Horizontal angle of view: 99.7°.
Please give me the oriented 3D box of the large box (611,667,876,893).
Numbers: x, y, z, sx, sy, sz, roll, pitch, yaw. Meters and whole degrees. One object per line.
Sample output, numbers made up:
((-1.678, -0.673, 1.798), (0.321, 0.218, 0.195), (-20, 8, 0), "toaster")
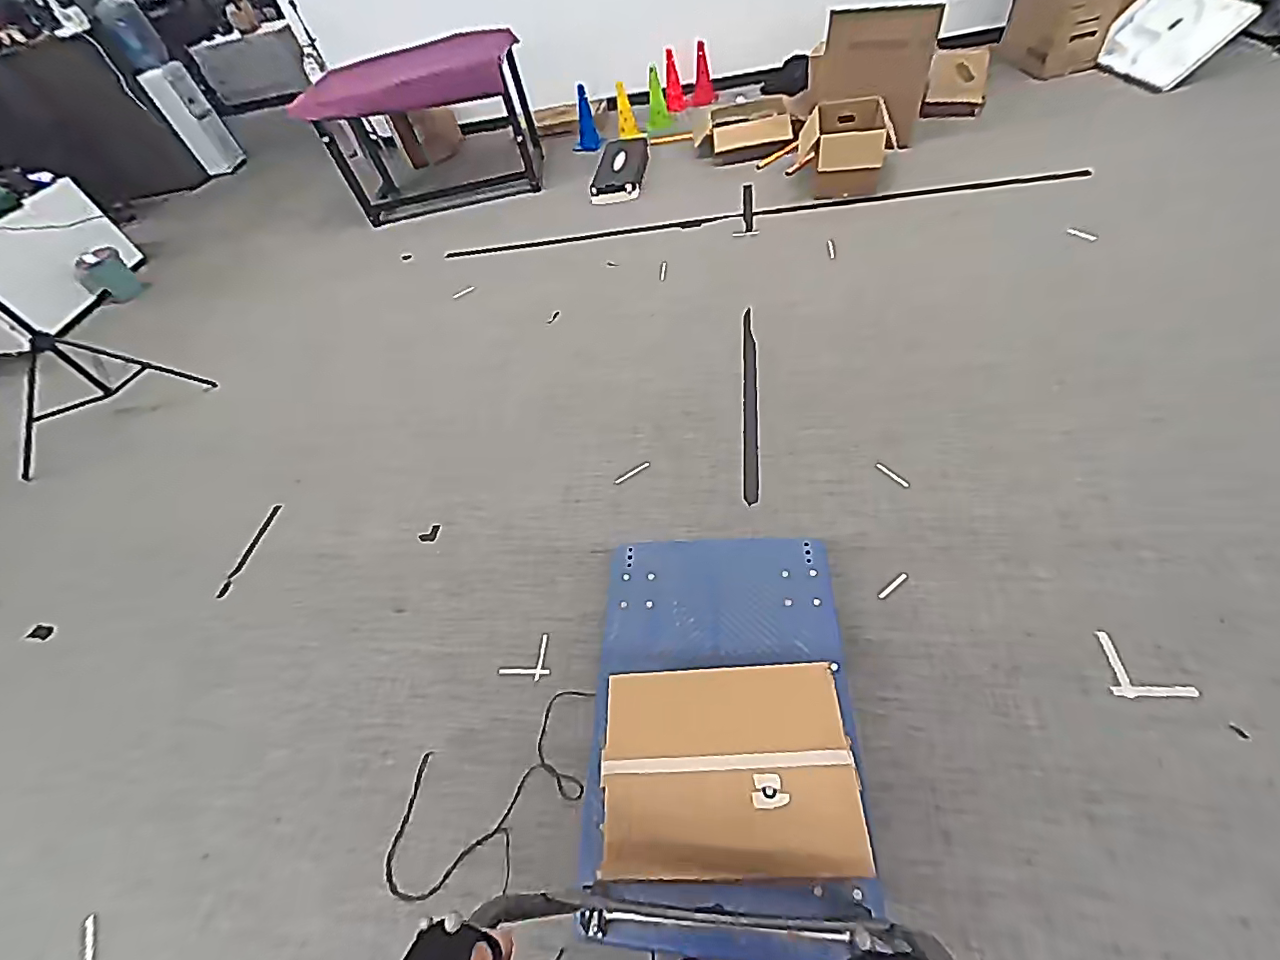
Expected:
((0.169, 0.570, 1.012), (0.408, 0.320, 0.320), (-6, 52, 7), "large box")
